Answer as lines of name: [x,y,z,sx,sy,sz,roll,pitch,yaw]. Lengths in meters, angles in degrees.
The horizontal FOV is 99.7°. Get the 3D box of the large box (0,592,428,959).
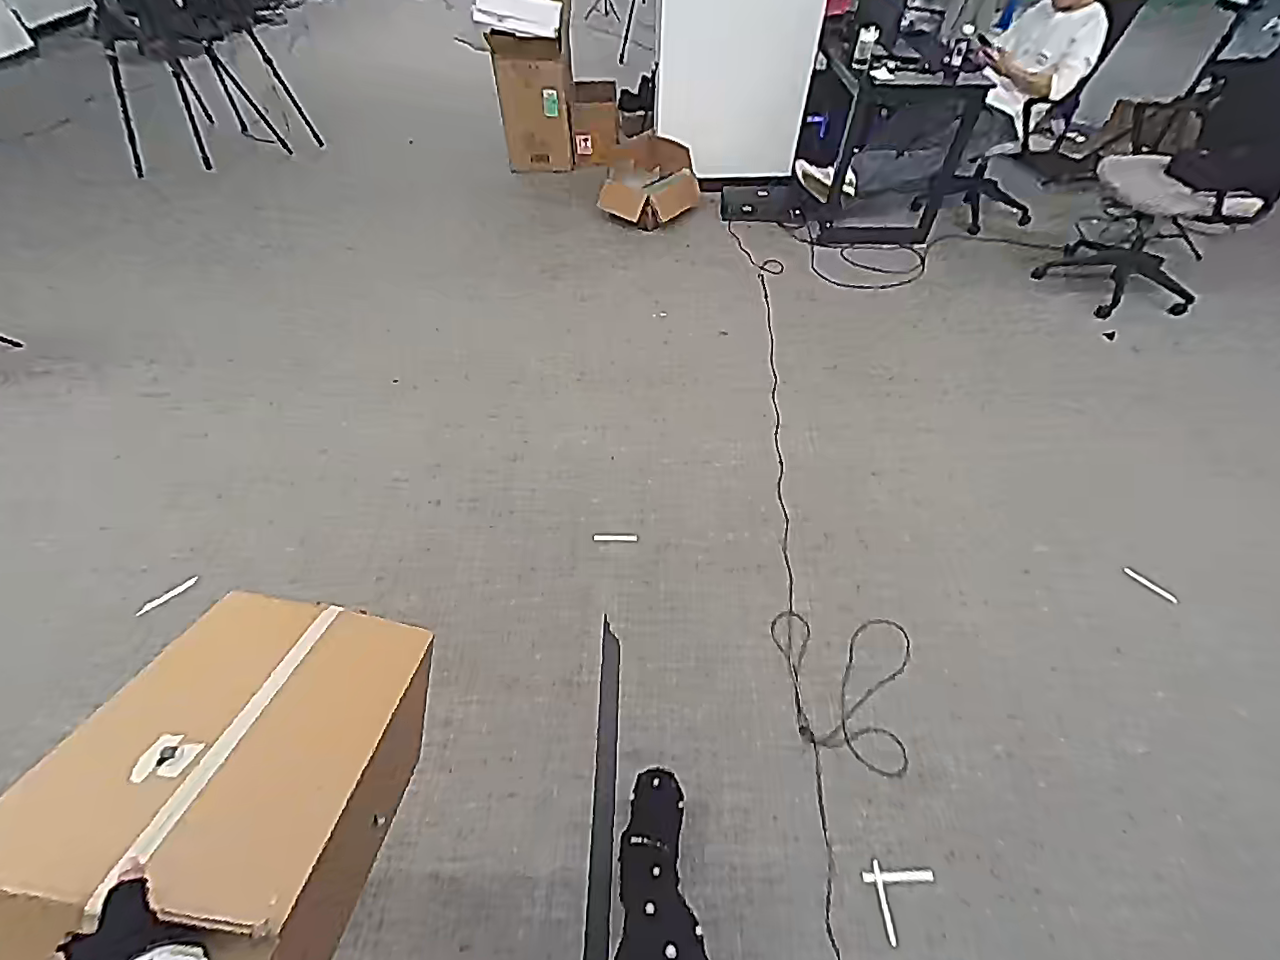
large box: [-0.527,0.427,0.747,0.320,0.320,0.408,14,27,-6]
